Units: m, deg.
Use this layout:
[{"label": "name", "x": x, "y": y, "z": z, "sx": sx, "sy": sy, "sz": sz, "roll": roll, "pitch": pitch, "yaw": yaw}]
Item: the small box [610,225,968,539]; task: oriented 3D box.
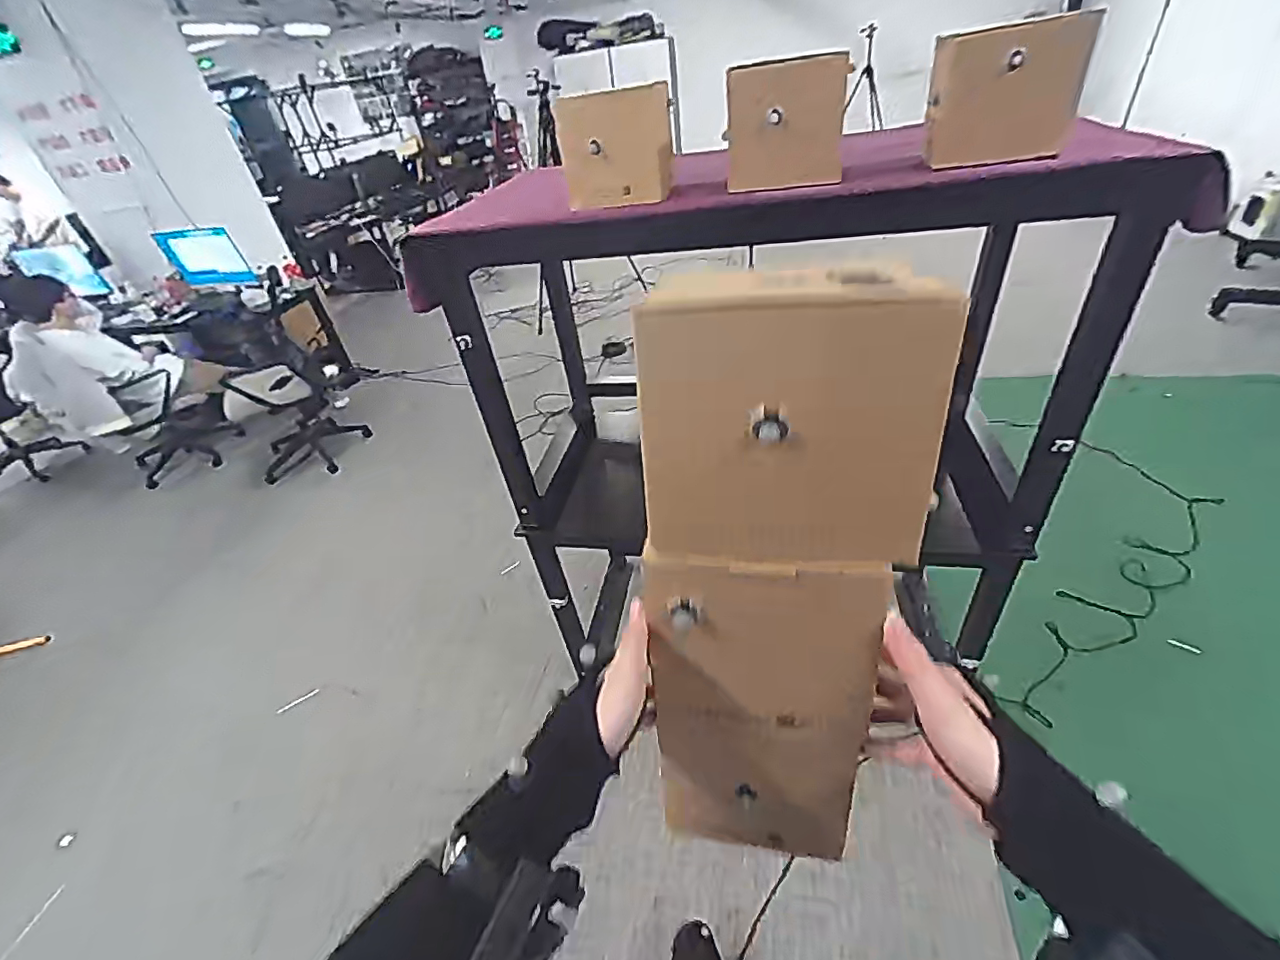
[{"label": "small box", "x": 0.090, "y": -0.074, "z": 0.372, "sx": 0.179, "sy": 0.176, "sz": 0.168, "roll": 3, "pitch": 28, "yaw": 13}]

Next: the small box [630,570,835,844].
[{"label": "small box", "x": 0.094, "y": 0.214, "z": 0.534, "sx": 0.168, "sy": 0.176, "sz": 0.179, "roll": 4, "pitch": 27, "yaw": 13}]

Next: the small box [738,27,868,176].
[{"label": "small box", "x": 0.251, "y": -0.588, "z": 0.849, "sx": 0.179, "sy": 0.176, "sz": 0.168, "roll": 4, "pitch": 39, "yaw": 15}]

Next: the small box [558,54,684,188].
[{"label": "small box", "x": -0.020, "y": -0.601, "z": 0.915, "sx": 0.168, "sy": 0.176, "sz": 0.179, "roll": 2, "pitch": 38, "yaw": 13}]

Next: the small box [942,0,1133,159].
[{"label": "small box", "x": 0.553, "y": -0.577, "z": 0.784, "sx": 0.179, "sy": 0.176, "sz": 0.168, "roll": 6, "pitch": 39, "yaw": 17}]
